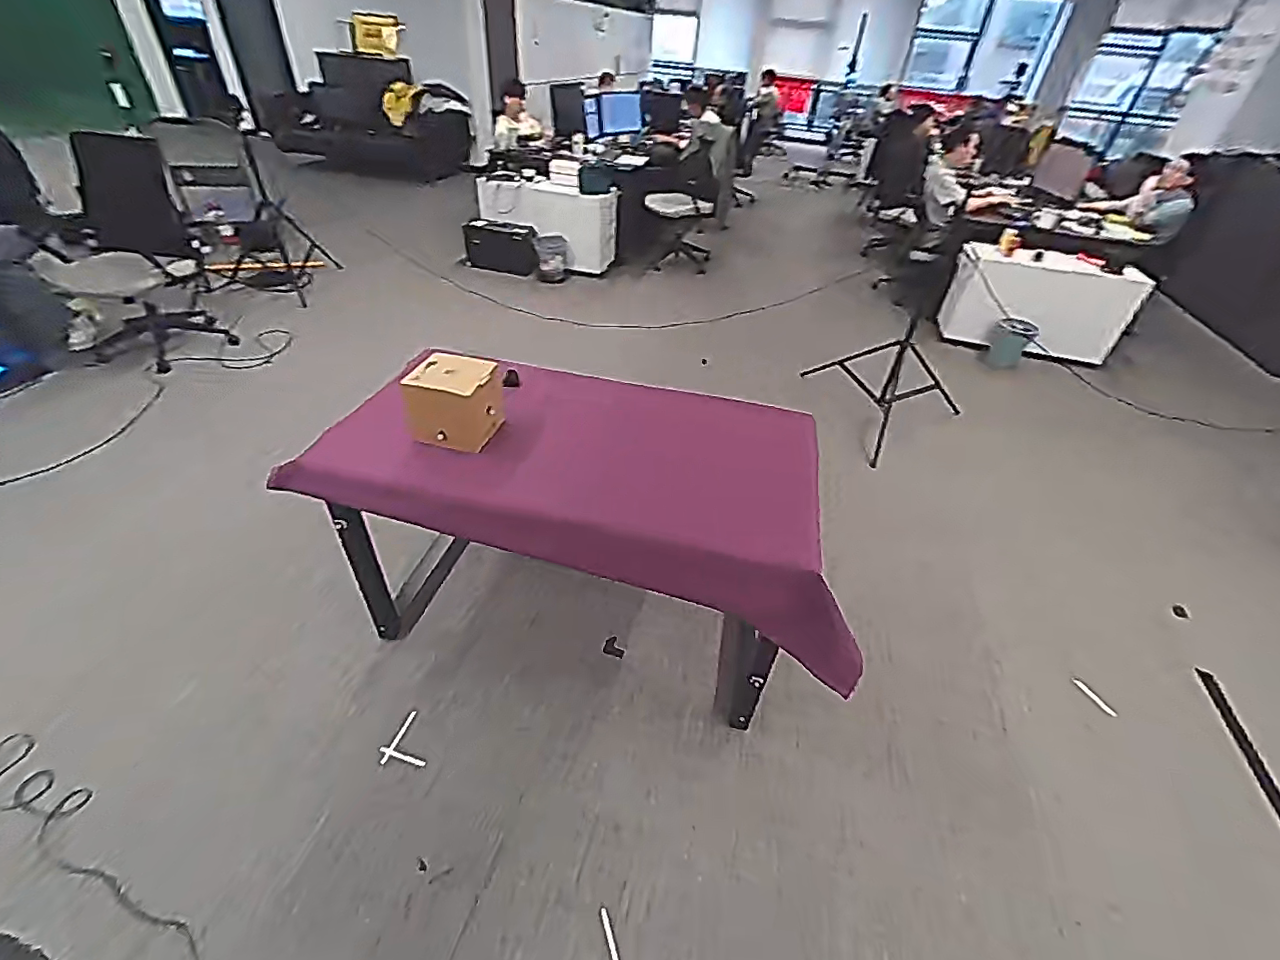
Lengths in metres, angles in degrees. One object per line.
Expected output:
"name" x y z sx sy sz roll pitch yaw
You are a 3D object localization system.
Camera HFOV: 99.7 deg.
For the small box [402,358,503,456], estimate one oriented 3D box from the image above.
"small box" -0.456 -0.180 1.352 0.179 0.176 0.168 12 39 7
